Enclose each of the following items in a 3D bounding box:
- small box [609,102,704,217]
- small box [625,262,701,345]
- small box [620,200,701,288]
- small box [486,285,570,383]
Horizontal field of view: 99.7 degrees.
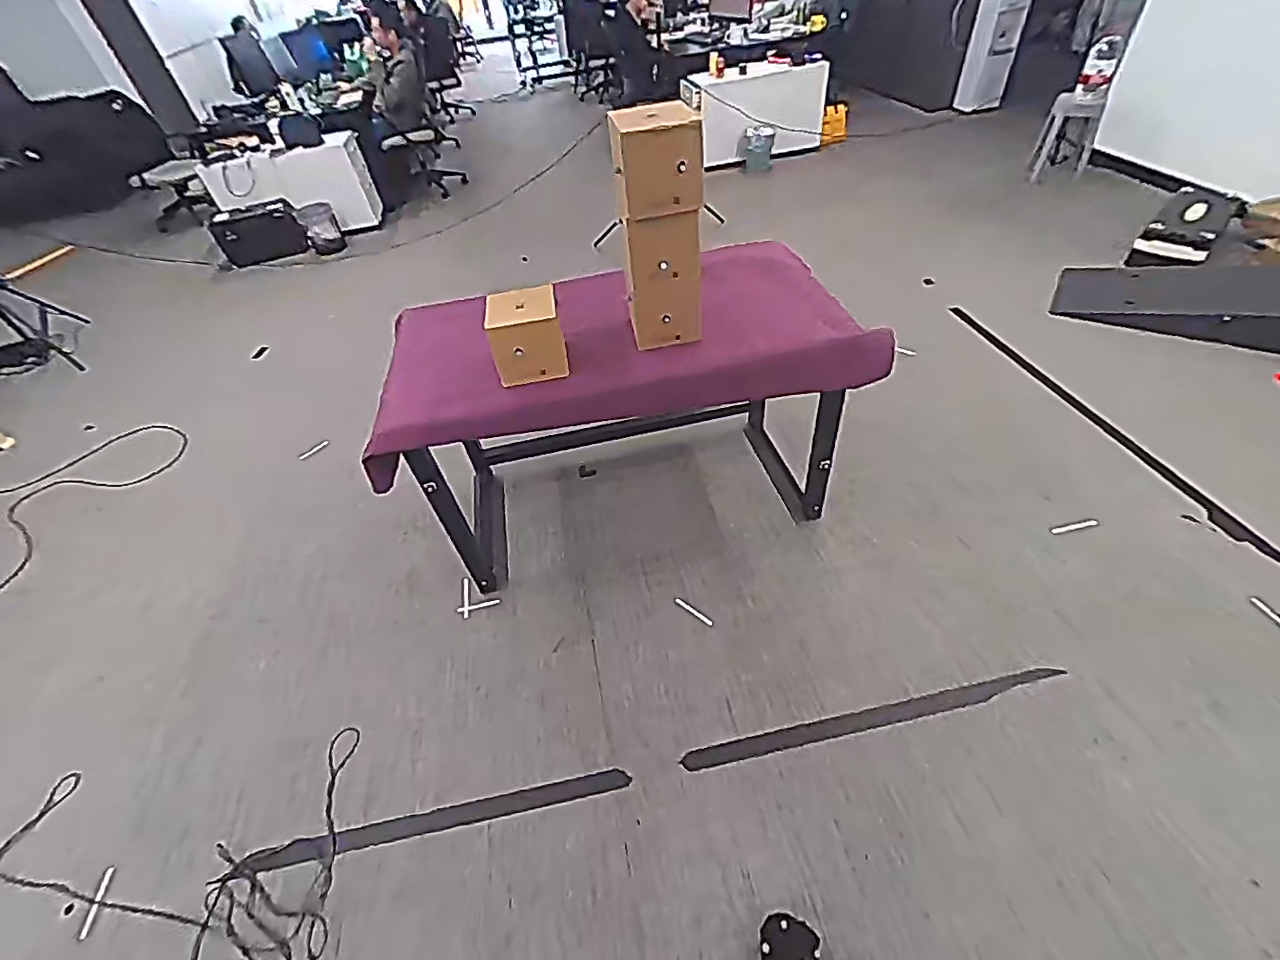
[{"bbox_3d":[0.037,-0.676,1.150,0.168,0.176,0.179,-12,45,-5],"label":"small box"},{"bbox_3d":[0.061,-0.462,1.397,0.168,0.176,0.179,-9,45,-2],"label":"small box"},{"bbox_3d":[0.047,-0.578,1.282,0.168,0.176,0.179,-10,46,-2],"label":"small box"},{"bbox_3d":[-0.274,-0.356,1.342,0.168,0.176,0.179,-11,45,-3],"label":"small box"}]
